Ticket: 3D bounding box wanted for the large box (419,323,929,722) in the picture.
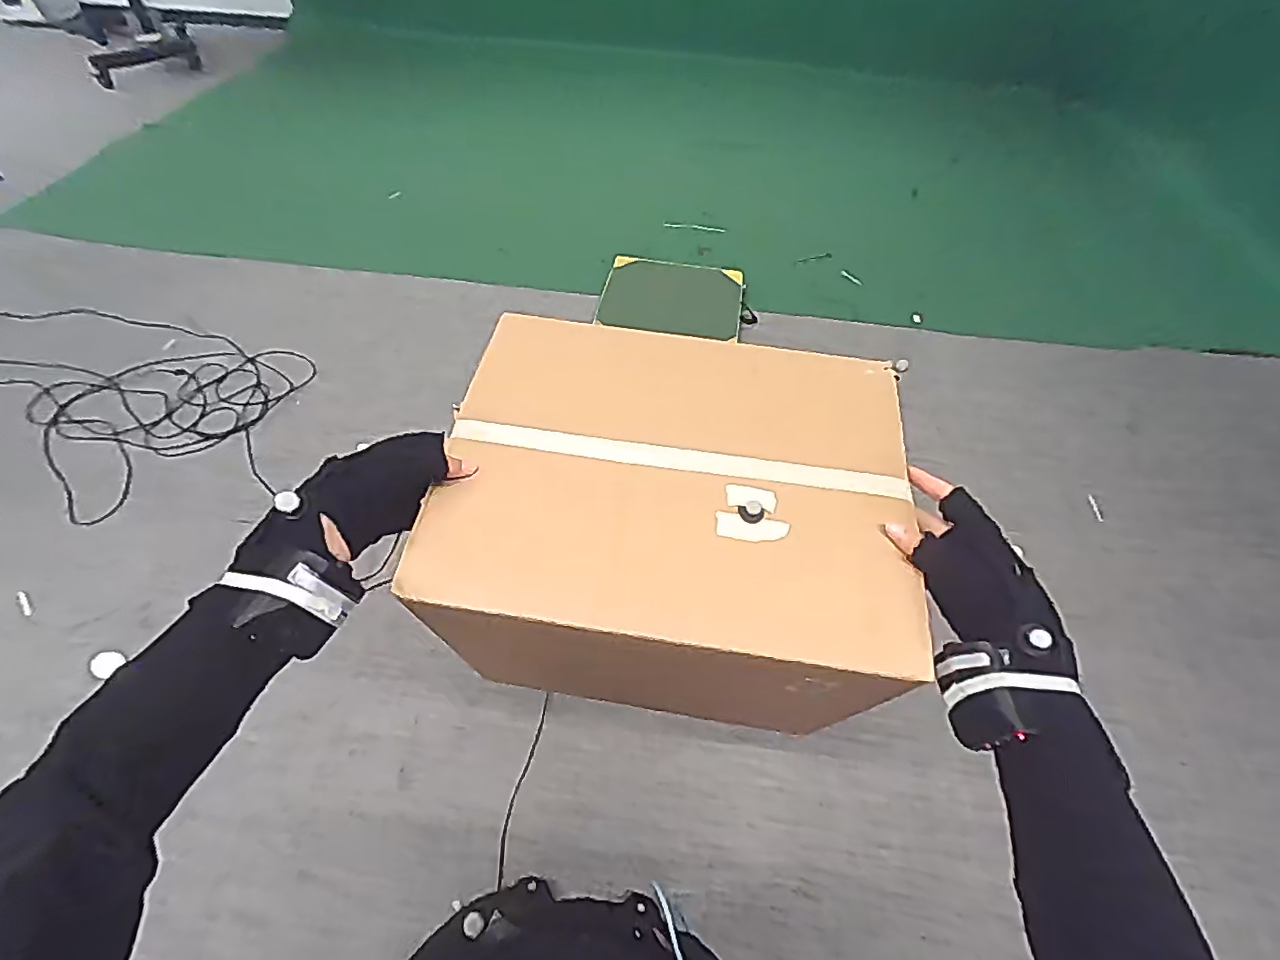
[{"bbox_3d":[0.034,0.063,0.615,0.408,0.320,0.320,9,59,2],"label":"large box"}]
